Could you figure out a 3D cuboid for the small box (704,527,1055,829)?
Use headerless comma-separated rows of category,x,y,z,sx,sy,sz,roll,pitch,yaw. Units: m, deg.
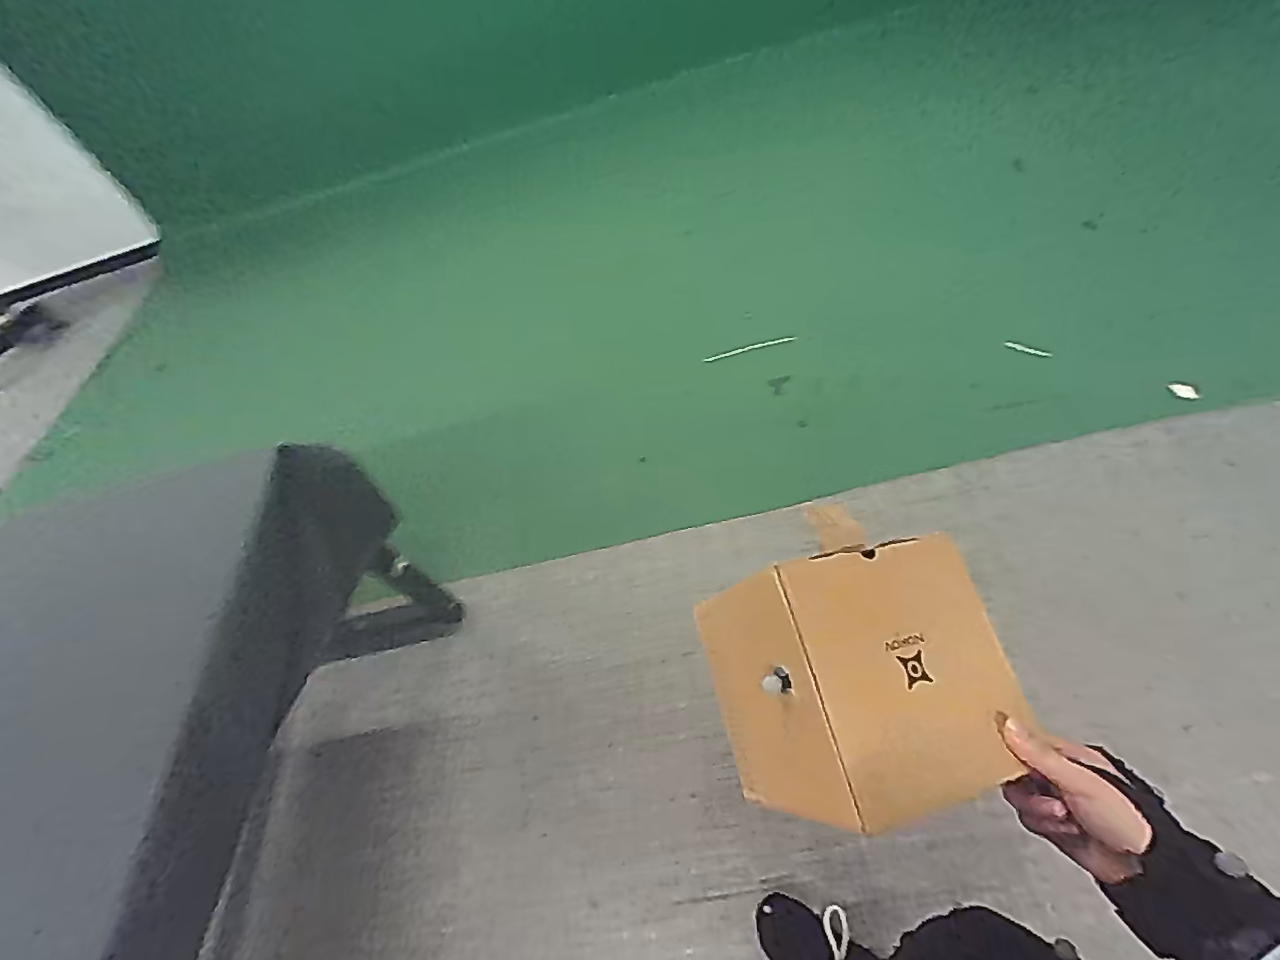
small box,0.172,0.155,0.447,0.168,0.176,0.179,-6,67,-19
